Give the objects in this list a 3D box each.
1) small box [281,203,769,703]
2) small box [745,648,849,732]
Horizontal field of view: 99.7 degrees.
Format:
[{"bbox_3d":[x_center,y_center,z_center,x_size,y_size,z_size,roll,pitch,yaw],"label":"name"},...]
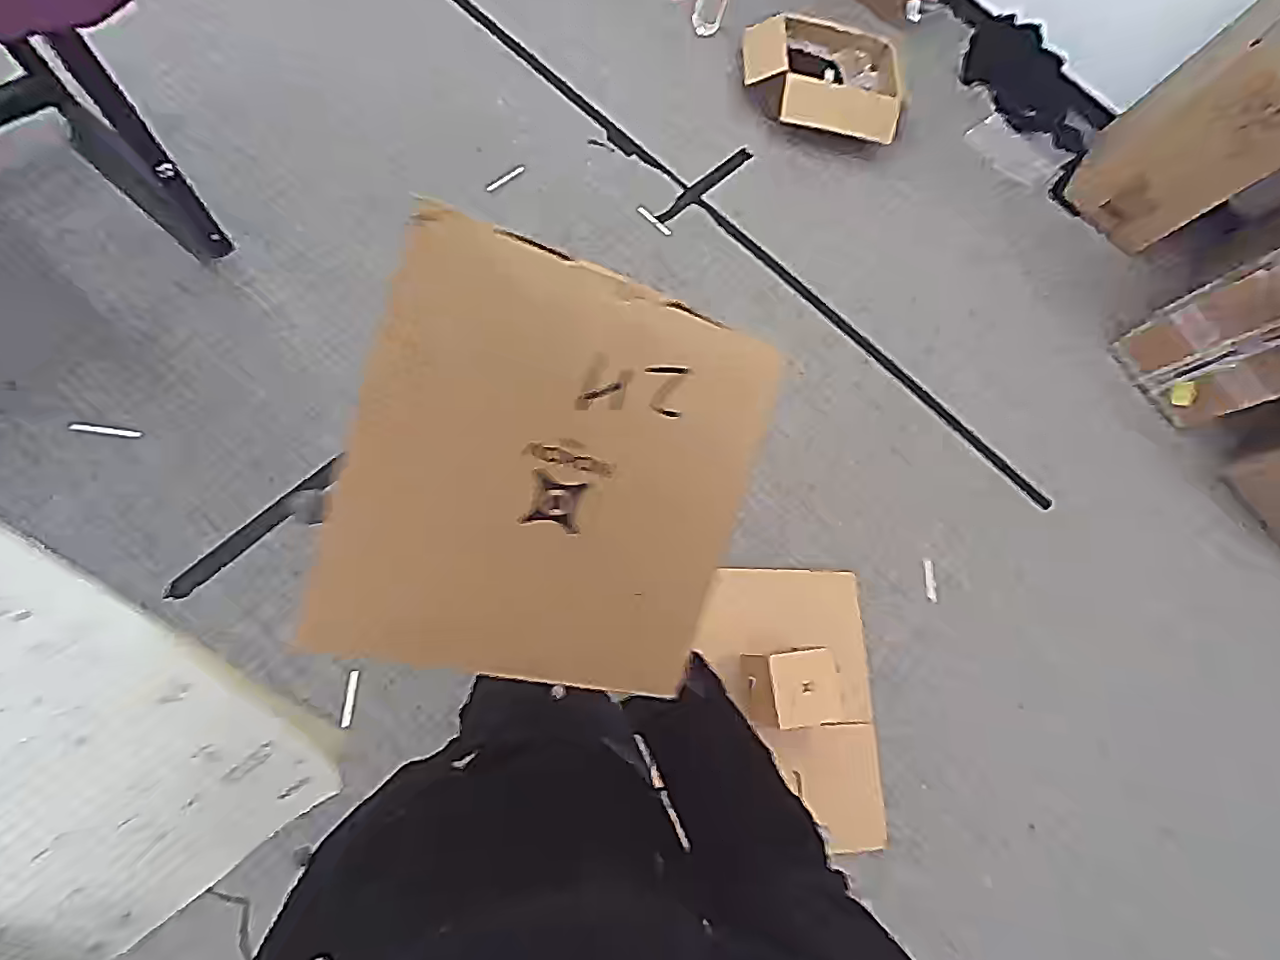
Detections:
[{"bbox_3d":[-0.063,-0.008,0.297,0.168,0.176,0.179,15,93,-22],"label":"small box"},{"bbox_3d":[0.382,0.512,1.339,0.179,0.176,0.168,-4,74,-12],"label":"small box"}]
